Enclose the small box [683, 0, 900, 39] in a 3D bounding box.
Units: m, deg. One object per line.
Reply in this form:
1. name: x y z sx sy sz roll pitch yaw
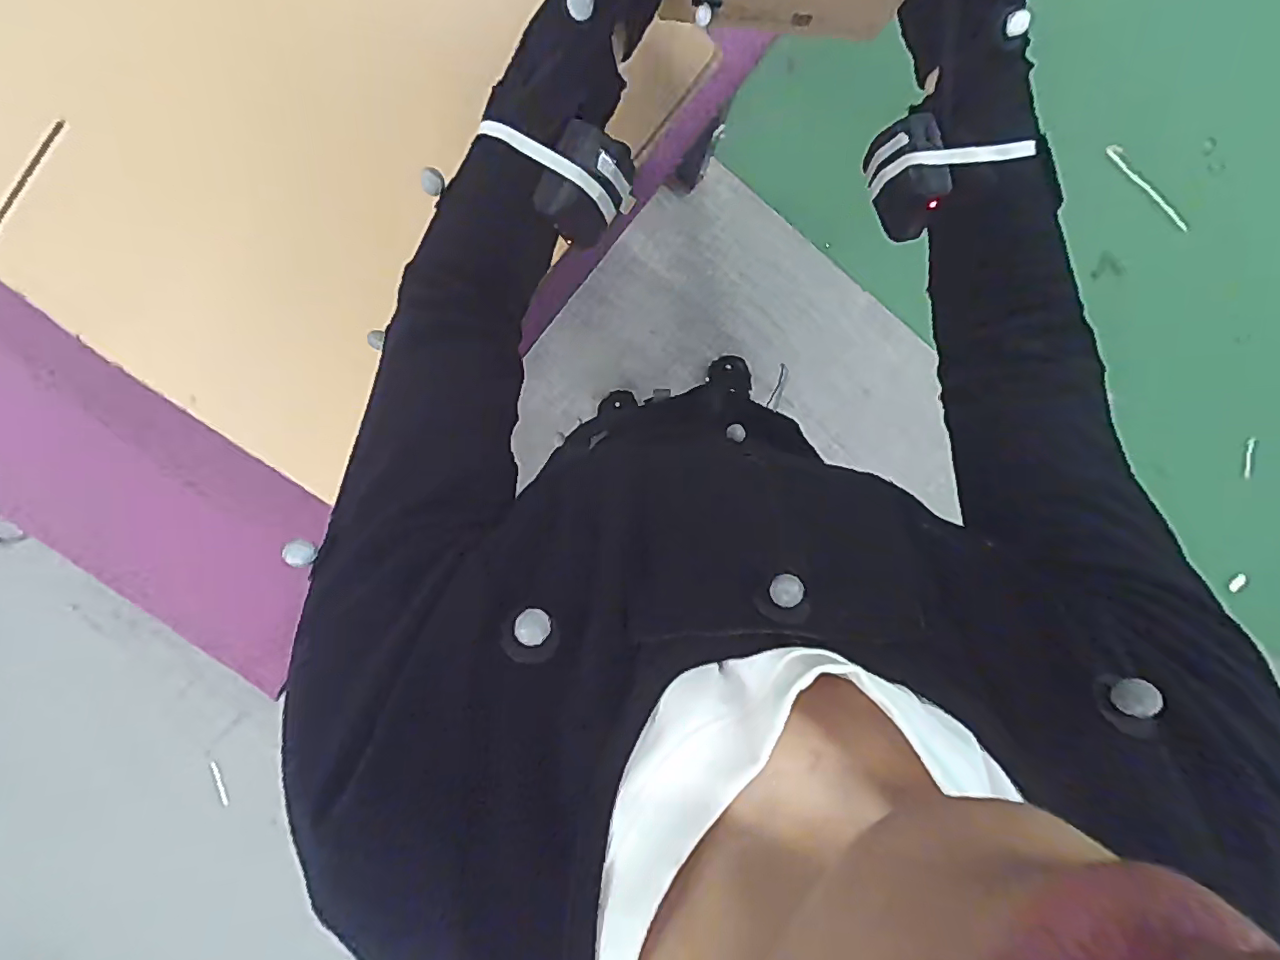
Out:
1. small box: 0.107 -0.401 0.311 0.168 0.176 0.179 4 103 -3
